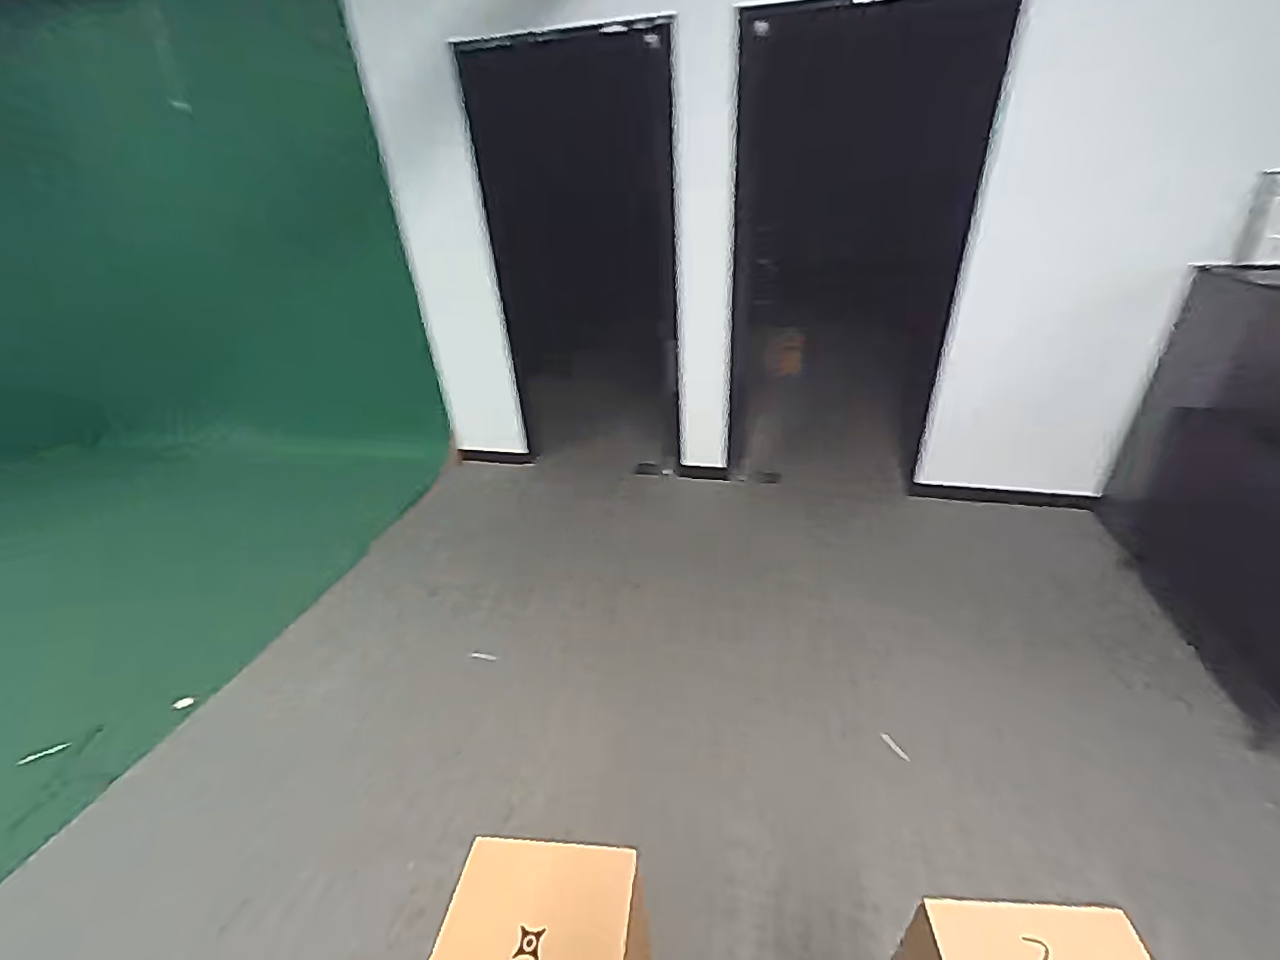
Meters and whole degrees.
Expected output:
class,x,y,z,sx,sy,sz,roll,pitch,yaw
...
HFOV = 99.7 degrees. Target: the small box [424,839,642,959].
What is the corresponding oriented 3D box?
class,x,y,z,sx,sy,sz,roll,pitch,yaw
small box,-0.092,0.467,0.486,0.168,0.176,0.179,-2,28,9
